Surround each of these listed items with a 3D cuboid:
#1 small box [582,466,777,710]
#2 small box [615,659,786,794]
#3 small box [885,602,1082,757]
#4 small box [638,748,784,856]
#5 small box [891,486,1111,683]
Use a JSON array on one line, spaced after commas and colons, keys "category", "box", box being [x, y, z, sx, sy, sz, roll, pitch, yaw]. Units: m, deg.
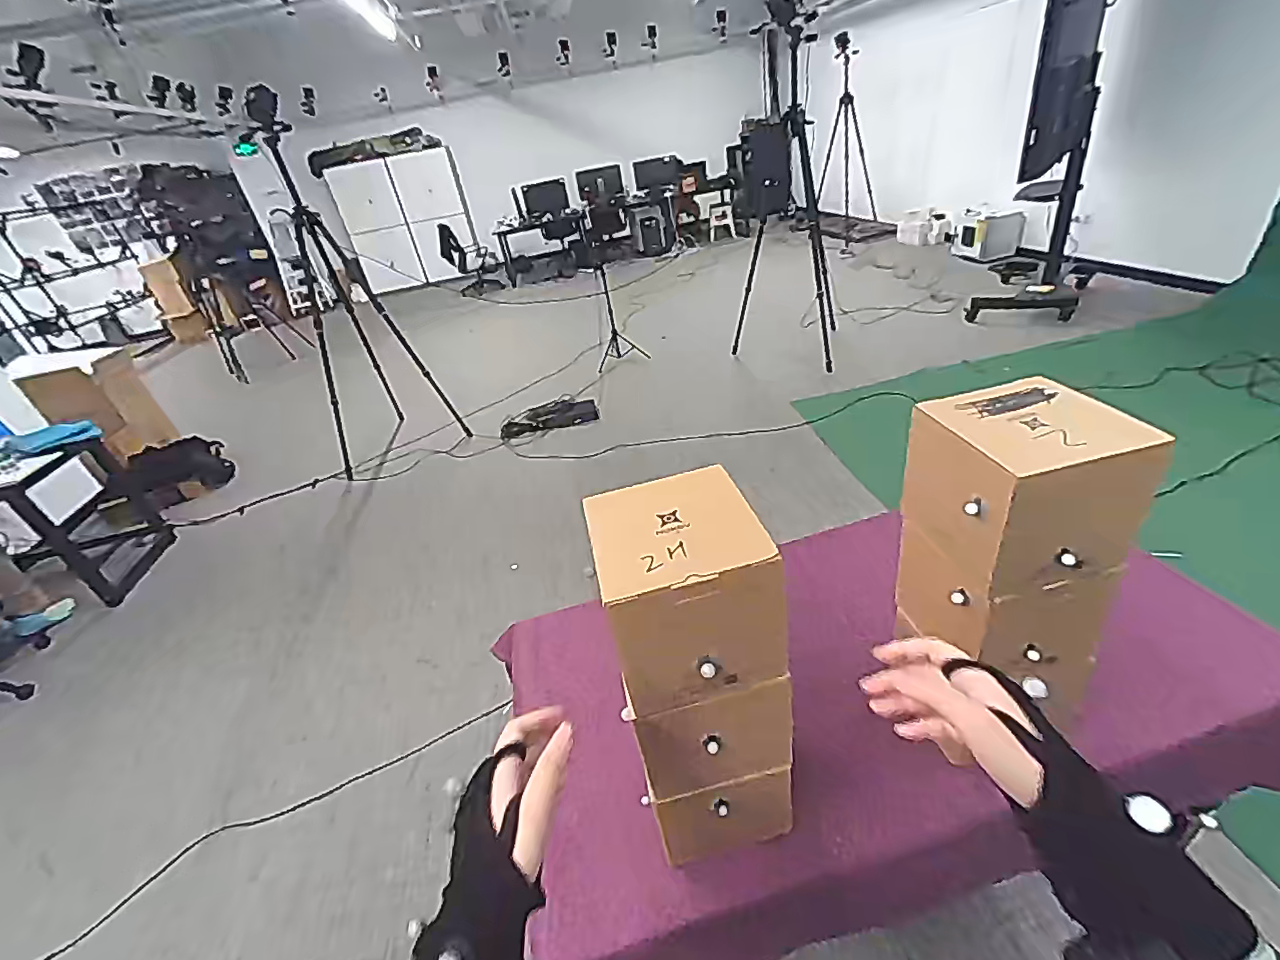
[{"category": "small box", "box": [0.040, 0.112, 0.593, 0.168, 0.176, 0.179, -15, 33, -4]}, {"category": "small box", "box": [0.069, 0.253, 0.676, 0.179, 0.176, 0.168, -15, 33, -4]}, {"category": "small box", "box": [0.494, 0.278, 0.809, 0.179, 0.176, 0.168, -14, 32, -5]}, {"category": "small box", "box": [0.091, 0.391, 0.761, 0.179, 0.176, 0.168, -13, 33, -4]}, {"category": "small box", "box": [0.463, 0.137, 0.731, 0.168, 0.176, 0.179, -14, 33, -4]}]
